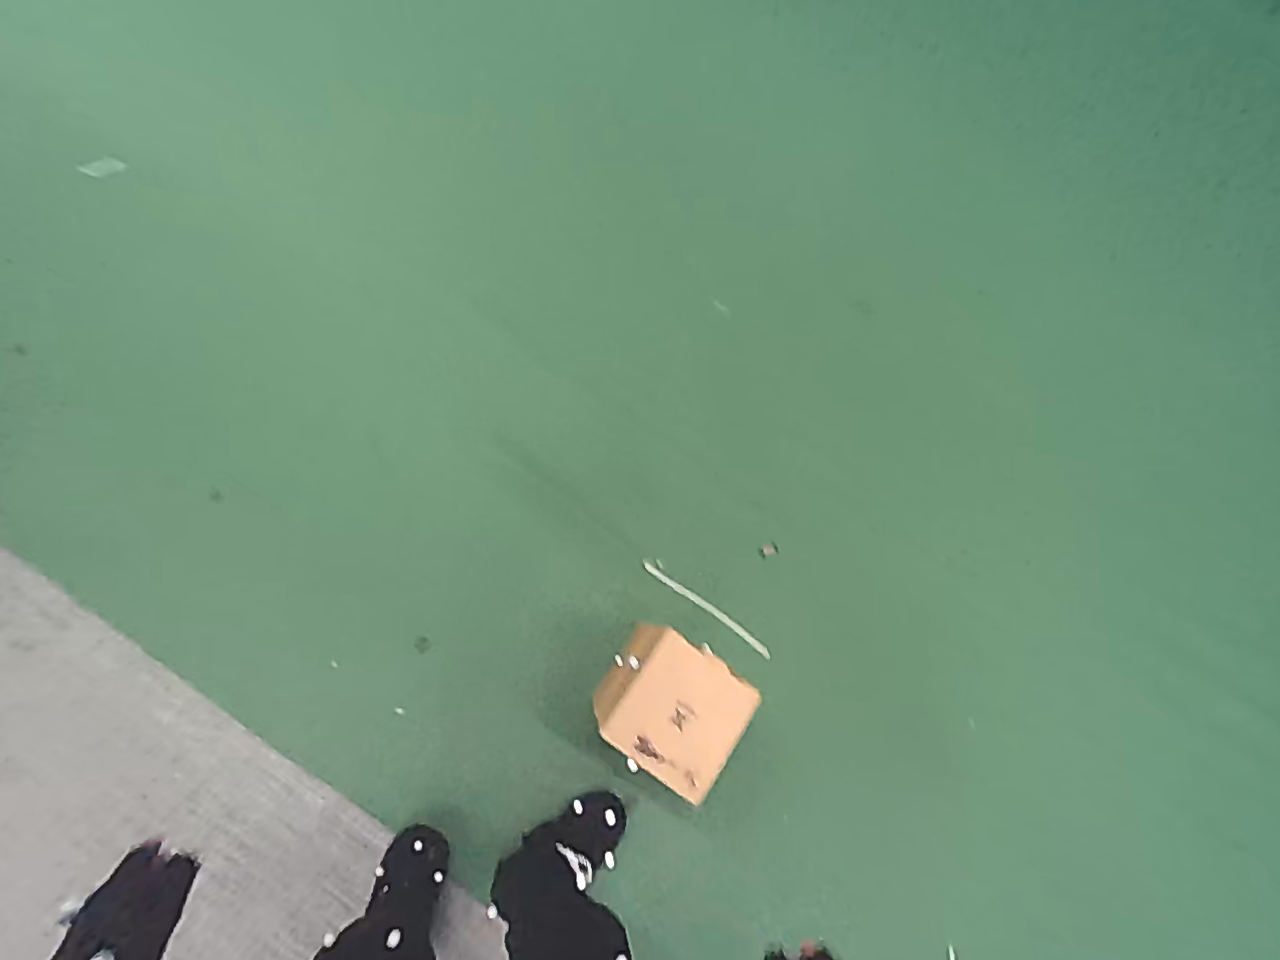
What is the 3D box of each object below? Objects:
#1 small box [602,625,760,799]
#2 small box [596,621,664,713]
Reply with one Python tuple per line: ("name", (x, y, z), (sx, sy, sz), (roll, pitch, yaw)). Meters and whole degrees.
("small box", (0.051, 0.342, 0.841), (0.168, 0.176, 0.179), (36, 75, 3))
("small box", (0.031, 0.373, 0.981), (0.168, 0.176, 0.179), (36, 76, 4))
